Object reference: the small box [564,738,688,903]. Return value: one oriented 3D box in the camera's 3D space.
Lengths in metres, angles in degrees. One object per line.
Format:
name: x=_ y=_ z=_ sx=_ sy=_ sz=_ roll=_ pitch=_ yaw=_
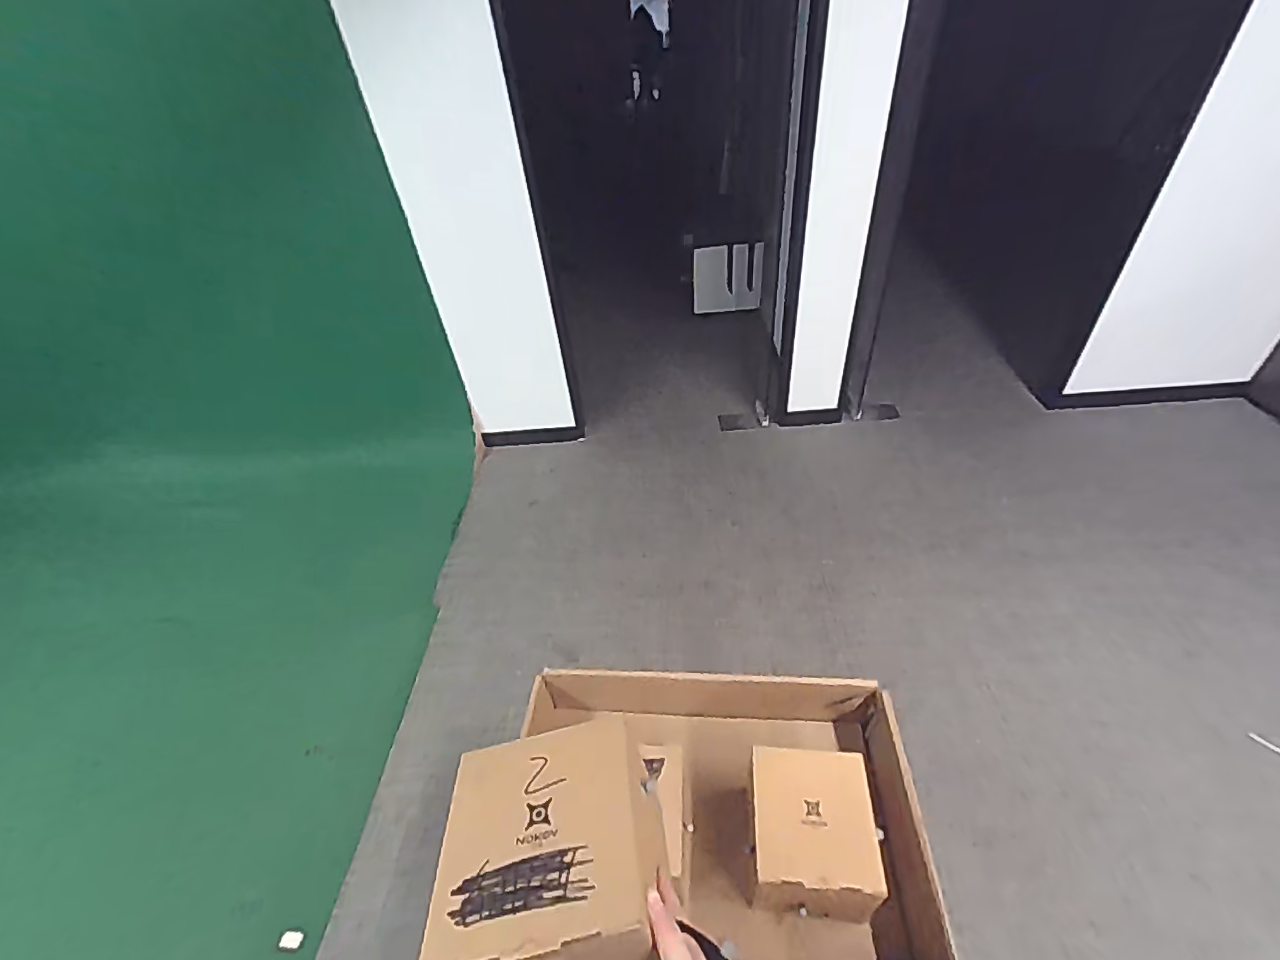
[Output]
small box: x=-0.012 y=0.530 z=0.846 sx=0.168 sy=0.176 sz=0.179 roll=-1 pitch=42 yaw=7
